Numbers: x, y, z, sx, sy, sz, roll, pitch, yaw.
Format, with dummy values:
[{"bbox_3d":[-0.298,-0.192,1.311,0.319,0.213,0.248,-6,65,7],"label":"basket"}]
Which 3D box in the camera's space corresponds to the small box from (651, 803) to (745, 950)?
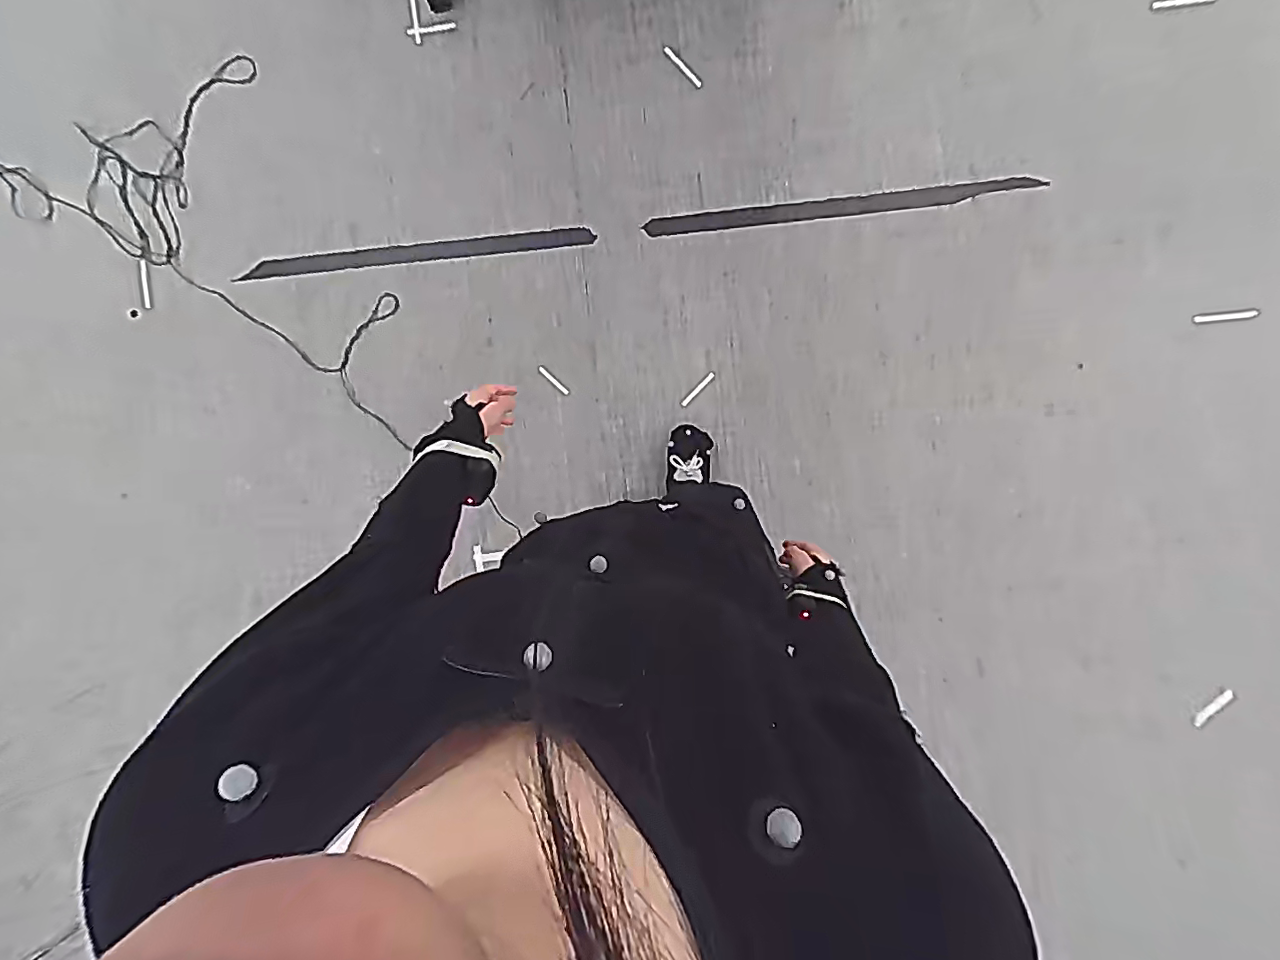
[{"bbox_3d":[0.114,0.784,1.082,0.168,0.176,0.179,-5,91,4],"label":"small box"}]
